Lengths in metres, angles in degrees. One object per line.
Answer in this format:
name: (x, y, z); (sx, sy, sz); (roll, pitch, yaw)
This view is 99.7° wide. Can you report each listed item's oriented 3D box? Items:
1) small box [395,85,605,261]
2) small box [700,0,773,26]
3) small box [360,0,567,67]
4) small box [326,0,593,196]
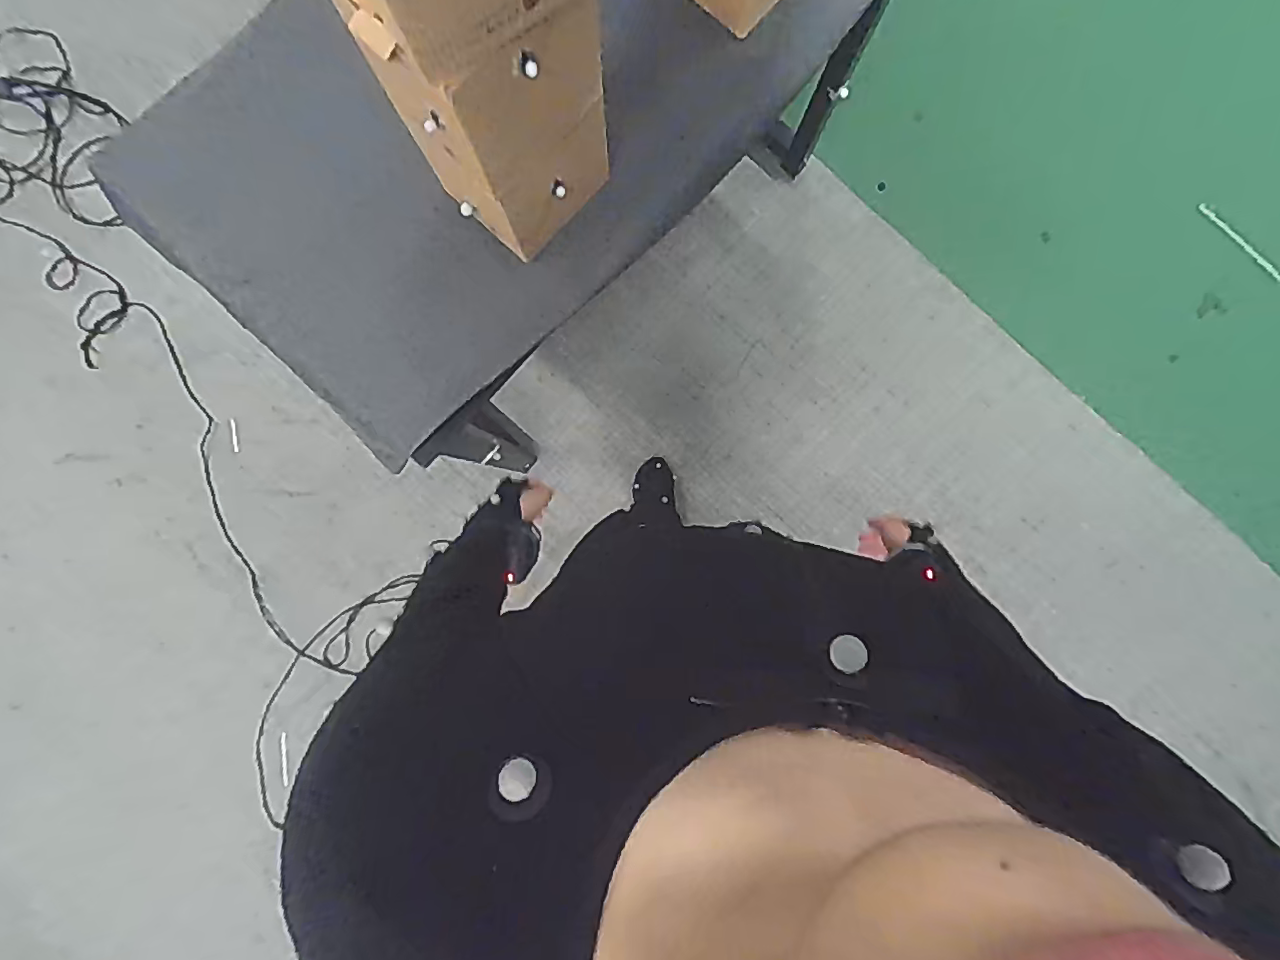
small box: (-0.160, -0.421, 0.683); (0.168, 0.176, 0.179); (43, 89, 1)
small box: (0.139, -0.750, 0.699); (0.179, 0.176, 0.168); (42, 88, 2)
small box: (-0.149, -0.426, 0.356); (0.168, 0.176, 0.179); (-34, 89, -2)
small box: (-0.159, -0.423, 0.521); (0.168, 0.176, 0.179); (44, 87, 0)
